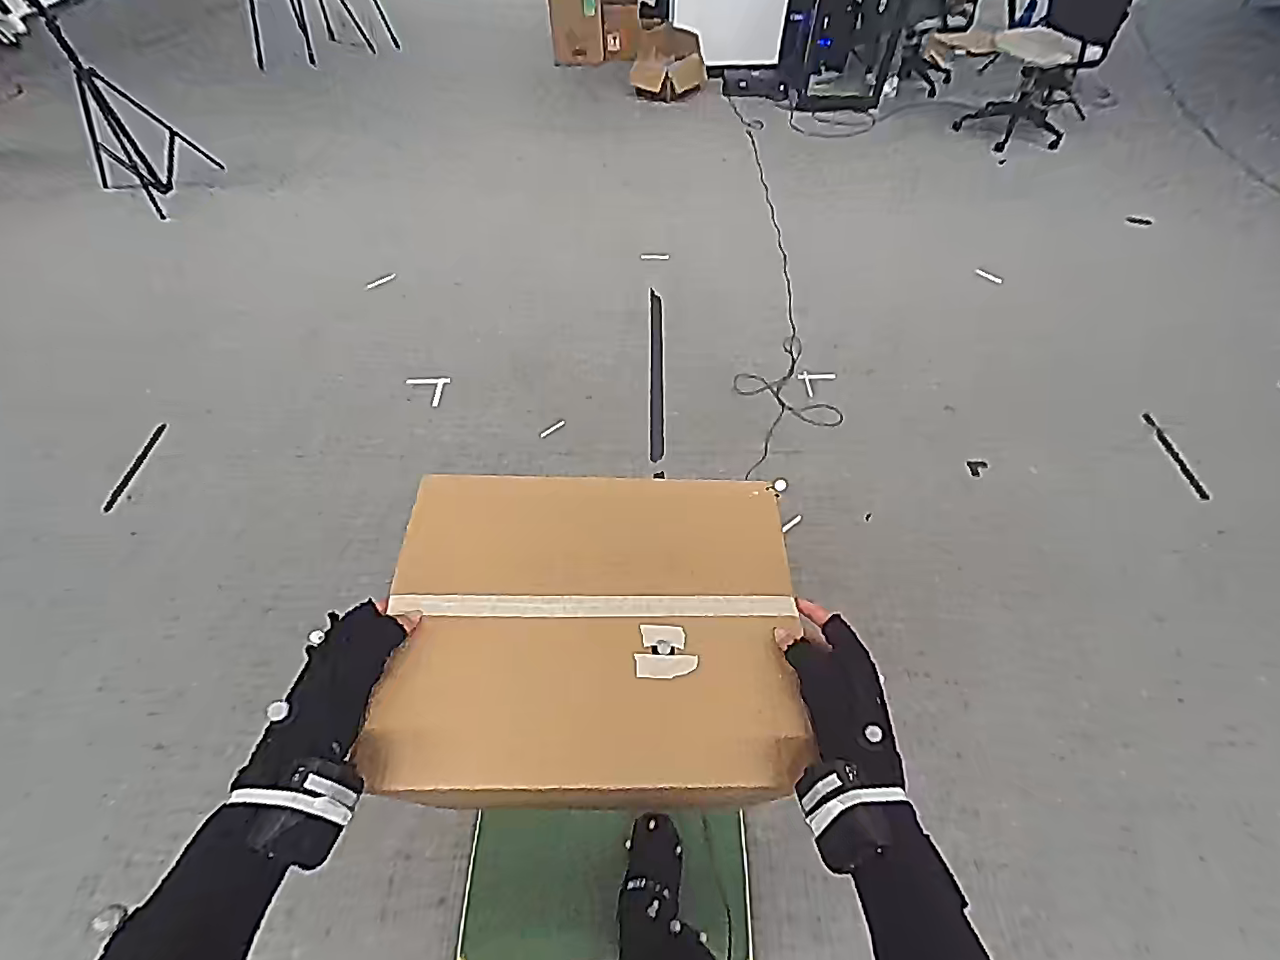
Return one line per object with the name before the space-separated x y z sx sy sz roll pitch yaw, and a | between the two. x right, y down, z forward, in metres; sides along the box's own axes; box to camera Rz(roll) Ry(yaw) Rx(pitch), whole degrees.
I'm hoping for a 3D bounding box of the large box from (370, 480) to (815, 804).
large box | -0.051 0.213 0.681 0.408 0.320 0.320 1 56 -3
